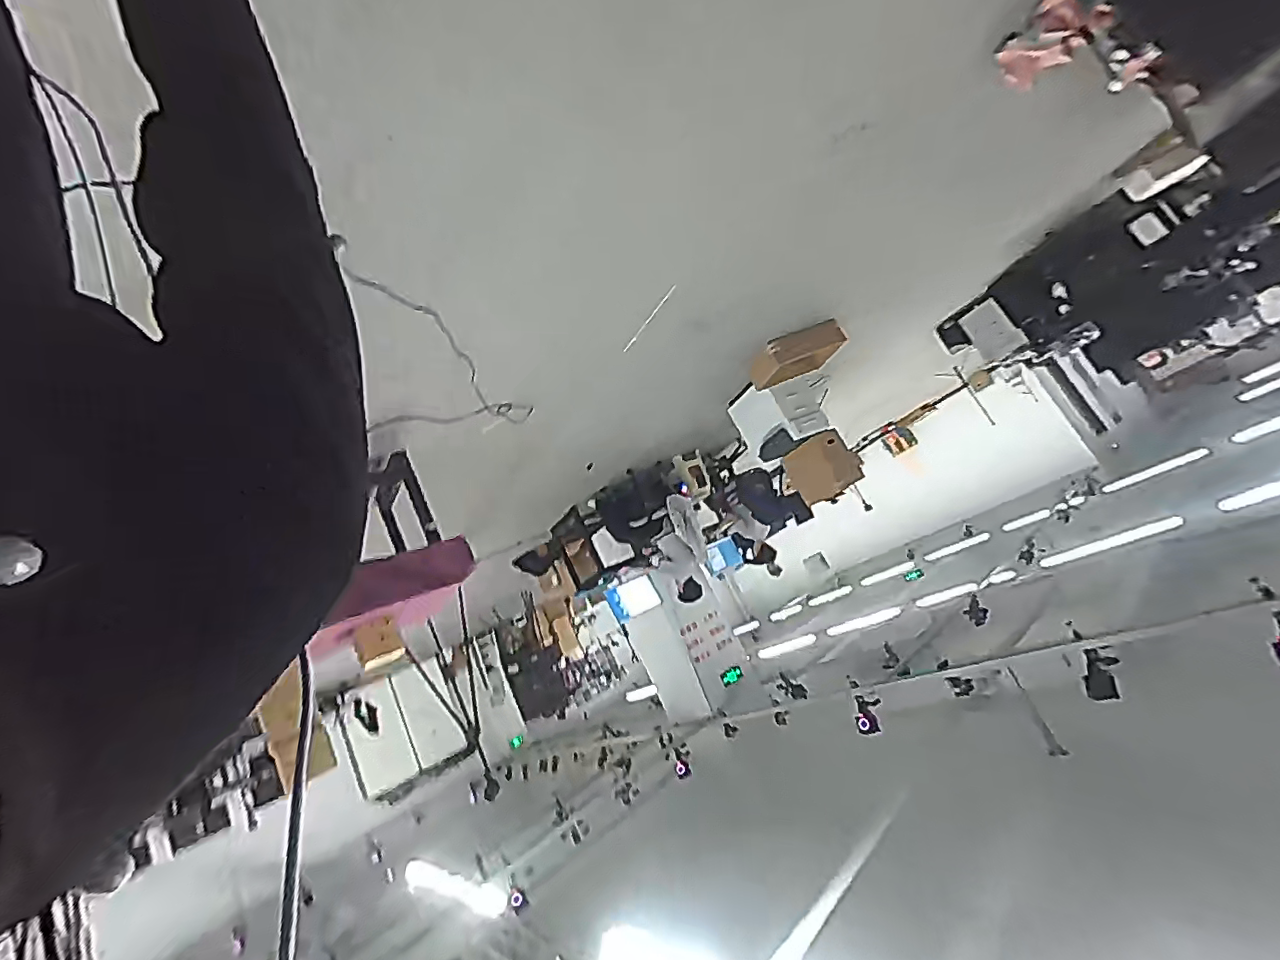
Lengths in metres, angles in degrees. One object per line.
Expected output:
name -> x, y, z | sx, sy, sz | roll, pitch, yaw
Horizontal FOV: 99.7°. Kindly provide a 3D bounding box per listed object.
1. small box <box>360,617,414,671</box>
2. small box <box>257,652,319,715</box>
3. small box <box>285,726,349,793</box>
small box -> -1.155, 0.743, 2.462 | 0.168, 0.176, 0.179 | -15, 163, -41
small box -> -1.440, 0.826, 2.204 | 0.179, 0.176, 0.168 | -15, 163, -42
small box -> -1.276, 1.100, 2.129 | 0.179, 0.176, 0.168 | -16, 163, -42
